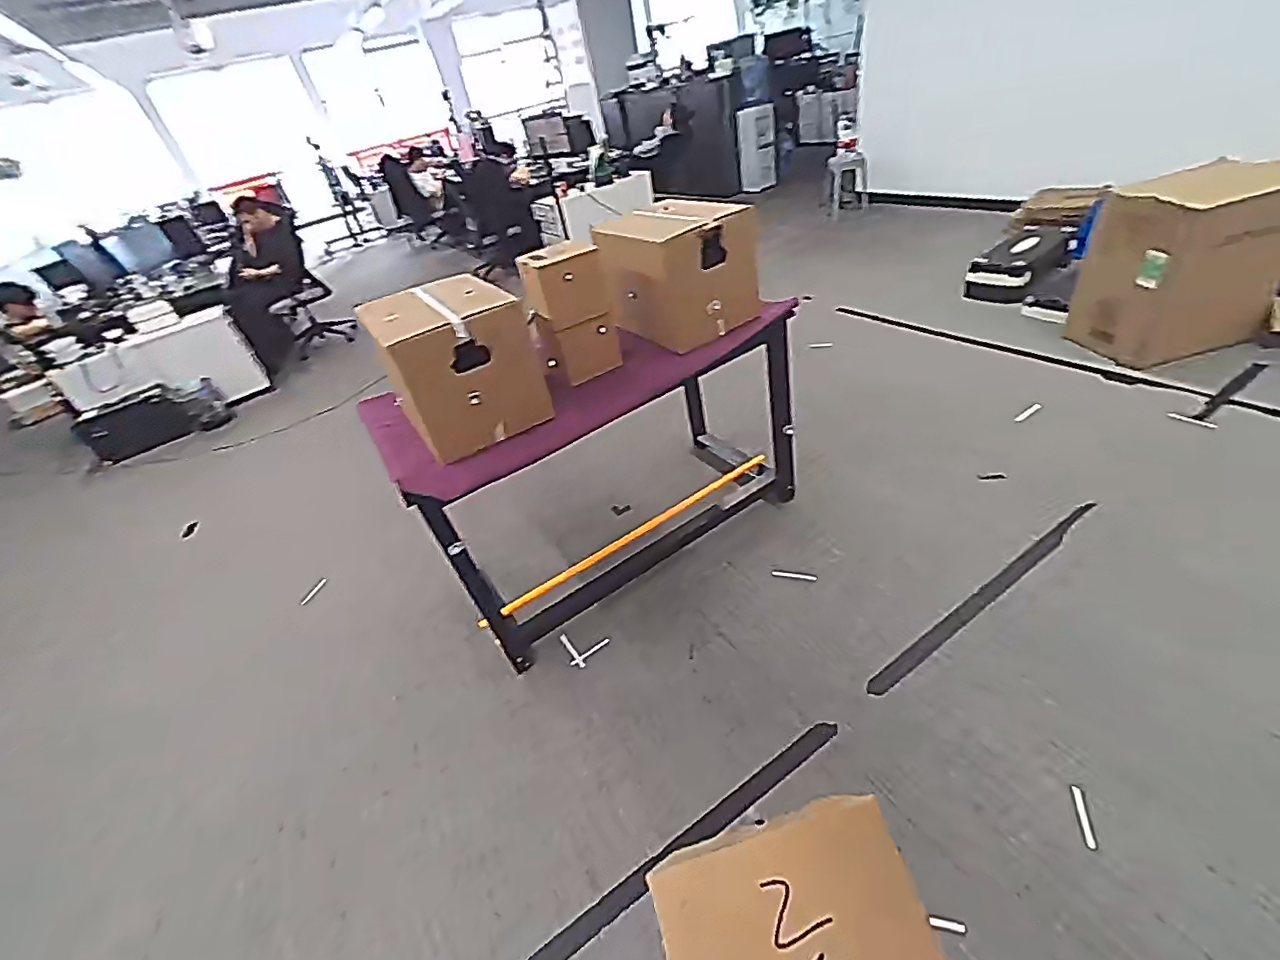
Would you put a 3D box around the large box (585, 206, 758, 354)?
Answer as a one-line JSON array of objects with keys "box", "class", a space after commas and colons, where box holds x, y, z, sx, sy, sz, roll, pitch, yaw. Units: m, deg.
[{"box": [0.096, -0.614, 1.629, 0.320, 0.320, 0.408, -29, 38, -20], "class": "large box"}]
